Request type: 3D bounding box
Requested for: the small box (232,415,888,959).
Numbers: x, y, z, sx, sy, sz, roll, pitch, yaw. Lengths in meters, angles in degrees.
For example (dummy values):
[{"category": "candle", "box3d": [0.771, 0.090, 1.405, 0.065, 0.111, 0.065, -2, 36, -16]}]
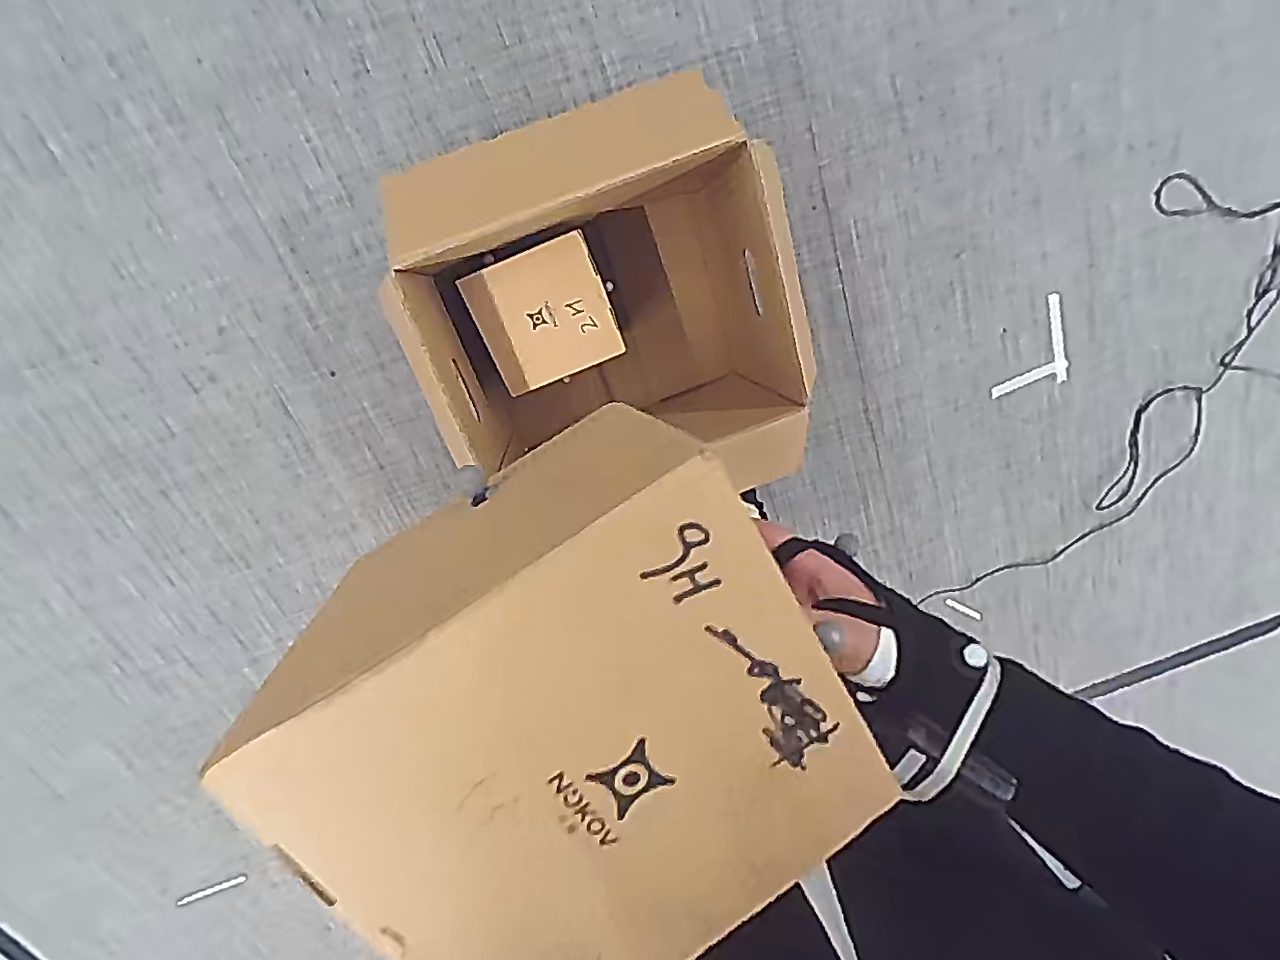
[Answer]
[{"category": "small box", "box3d": [-0.028, 0.085, 0.264, 0.179, 0.176, 0.168, -32, 107, -4]}]
